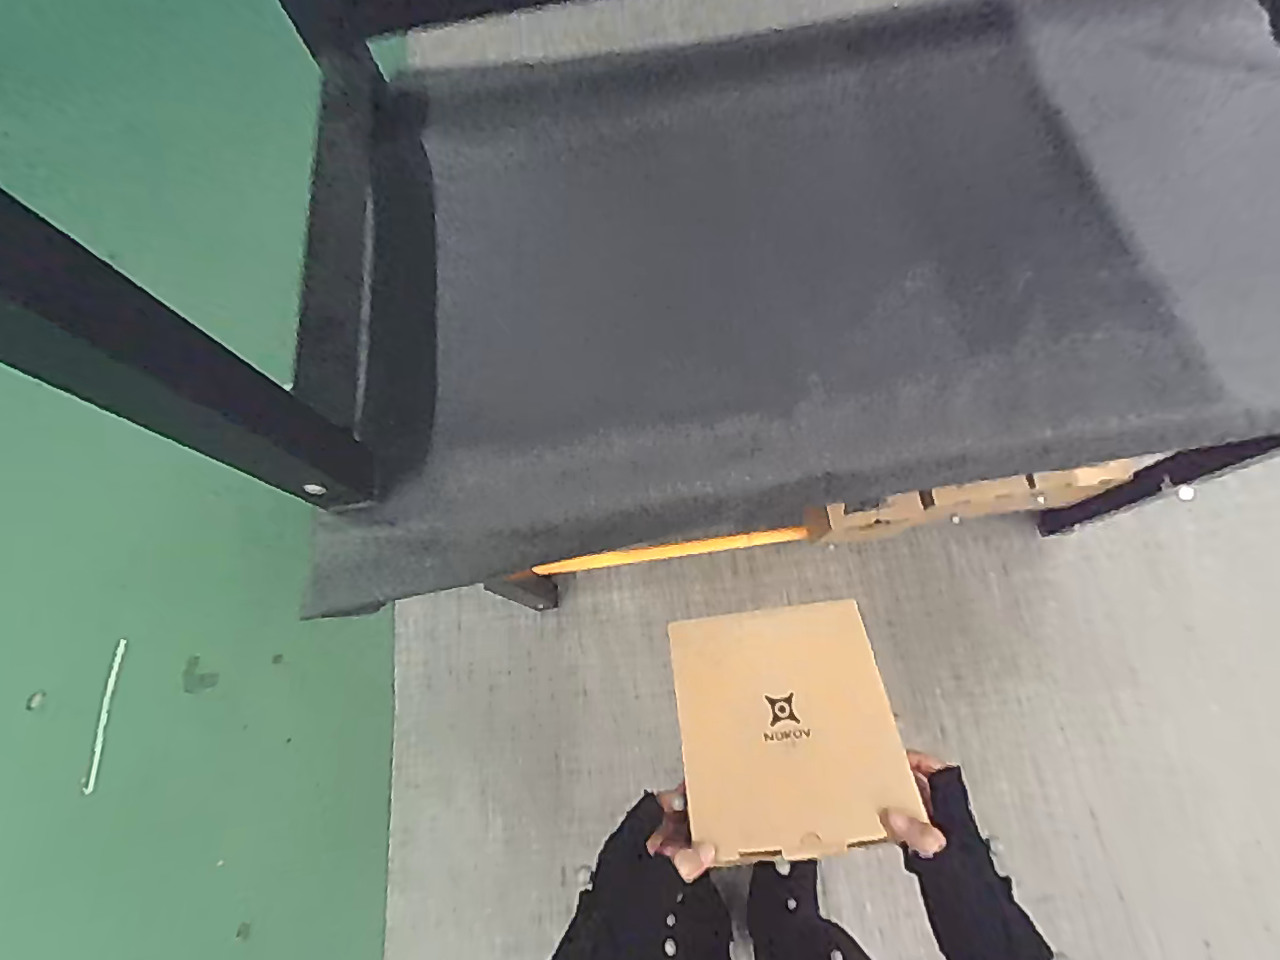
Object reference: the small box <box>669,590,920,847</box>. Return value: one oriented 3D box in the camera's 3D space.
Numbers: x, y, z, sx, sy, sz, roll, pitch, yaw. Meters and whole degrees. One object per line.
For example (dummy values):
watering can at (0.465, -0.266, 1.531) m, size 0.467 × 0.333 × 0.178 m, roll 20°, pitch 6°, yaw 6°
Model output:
small box at (0.119, 0.223, 0.496) m, size 0.168 × 0.176 × 0.179 m, roll -8°, pitch 54°, yaw 3°
